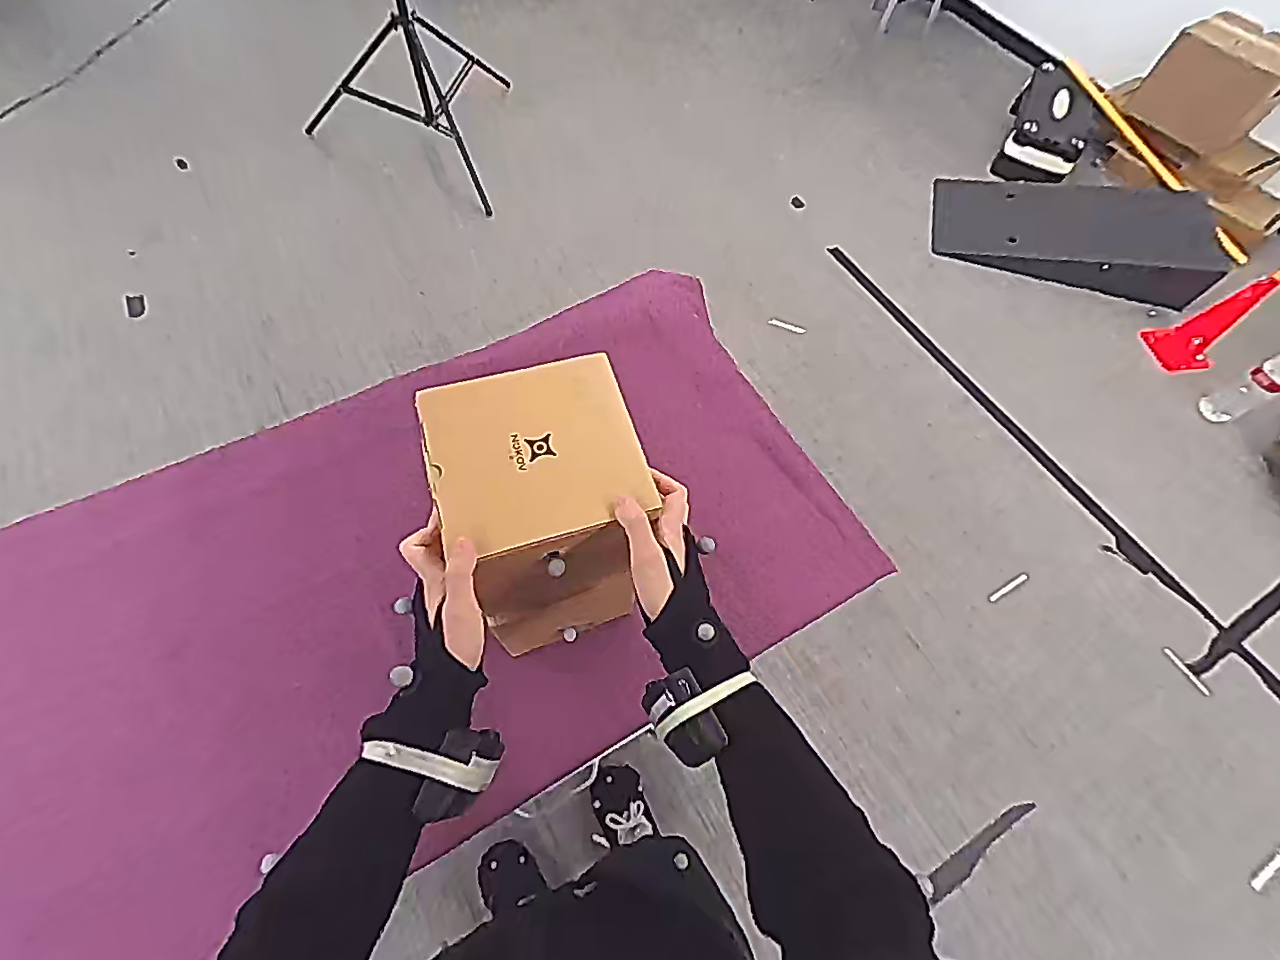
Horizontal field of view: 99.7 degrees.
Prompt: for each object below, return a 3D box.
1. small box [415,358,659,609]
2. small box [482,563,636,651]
[{"bbox_3d":[-0.096,0.011,0.528,0.179,0.176,0.168,-16,67,-11],"label":"small box"},{"bbox_3d":[-0.115,0.090,0.670,0.168,0.176,0.179,-18,66,-12],"label":"small box"}]
